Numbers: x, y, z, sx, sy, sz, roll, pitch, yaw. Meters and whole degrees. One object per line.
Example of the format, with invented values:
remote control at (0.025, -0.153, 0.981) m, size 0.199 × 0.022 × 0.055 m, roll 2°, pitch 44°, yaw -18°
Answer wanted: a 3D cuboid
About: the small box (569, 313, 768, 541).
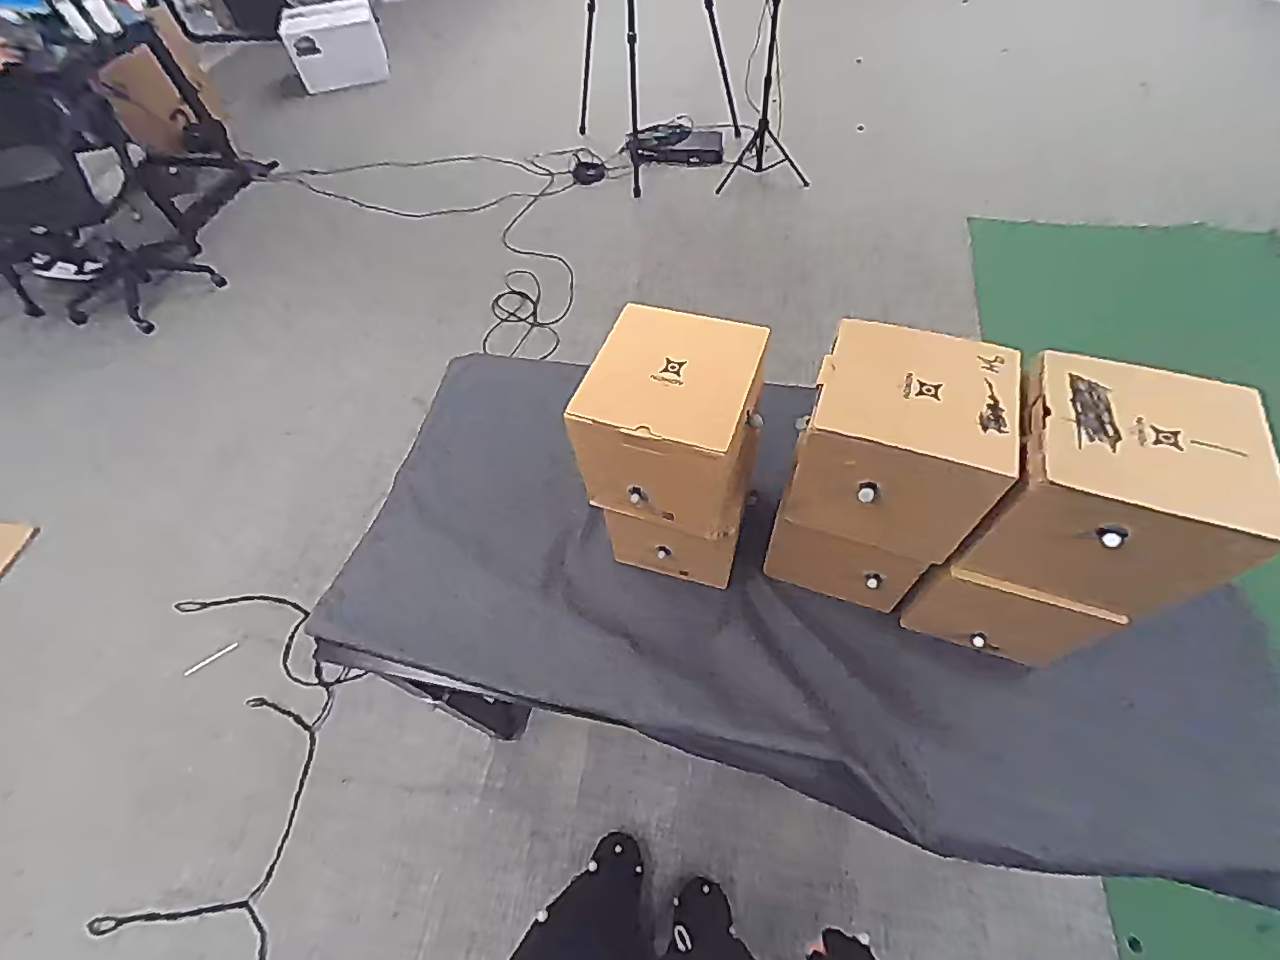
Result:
small box at (0.038, -0.059, 0.622) m, size 0.168 × 0.176 × 0.179 m, roll 14°, pitch 60°, yaw 15°
